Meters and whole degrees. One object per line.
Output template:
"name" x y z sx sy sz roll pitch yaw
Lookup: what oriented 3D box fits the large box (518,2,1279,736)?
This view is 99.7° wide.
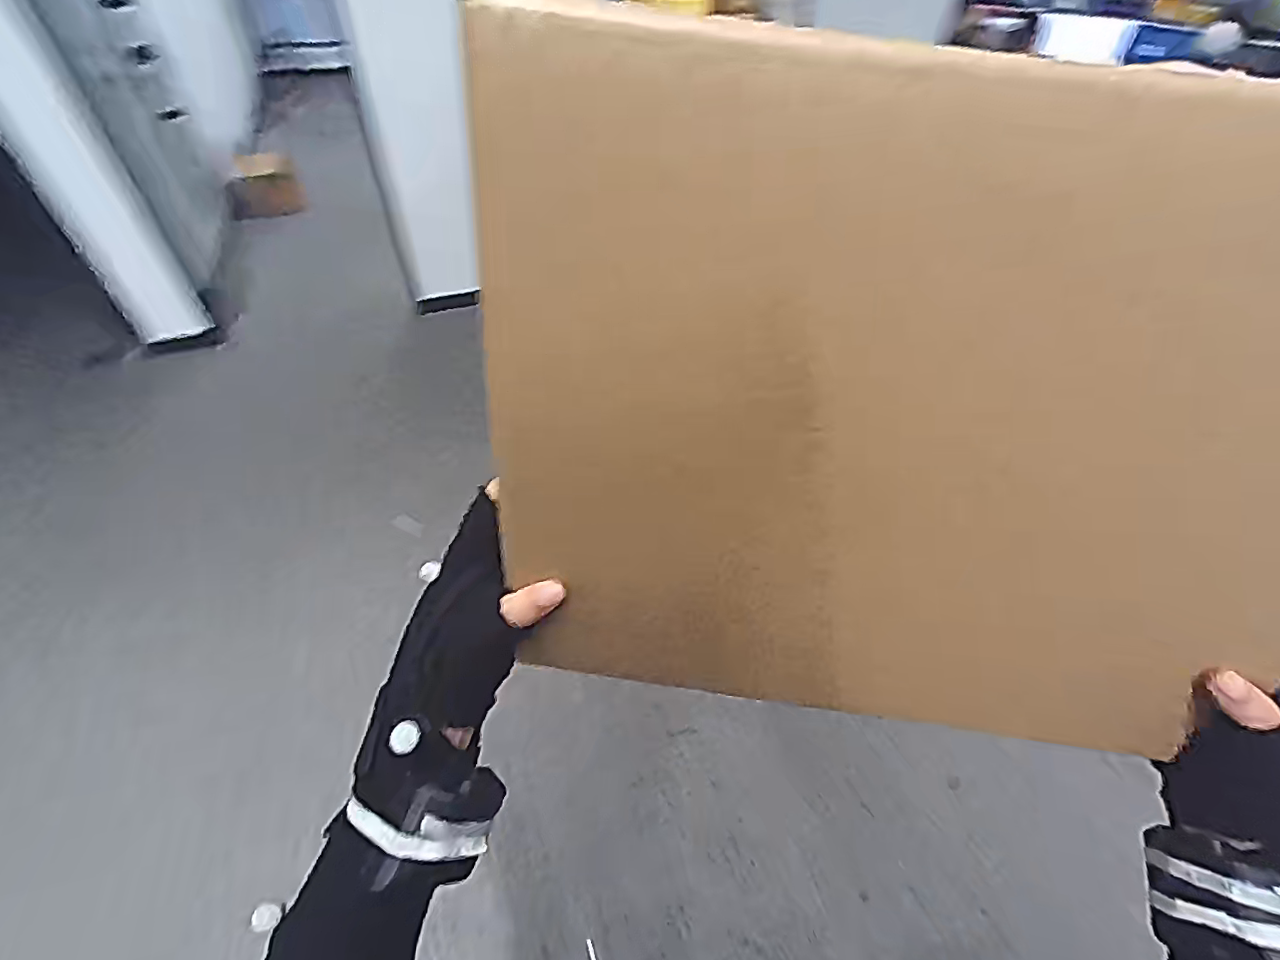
"large box" 0.150 -0.071 0.361 0.408 0.320 0.320 8 38 -1
